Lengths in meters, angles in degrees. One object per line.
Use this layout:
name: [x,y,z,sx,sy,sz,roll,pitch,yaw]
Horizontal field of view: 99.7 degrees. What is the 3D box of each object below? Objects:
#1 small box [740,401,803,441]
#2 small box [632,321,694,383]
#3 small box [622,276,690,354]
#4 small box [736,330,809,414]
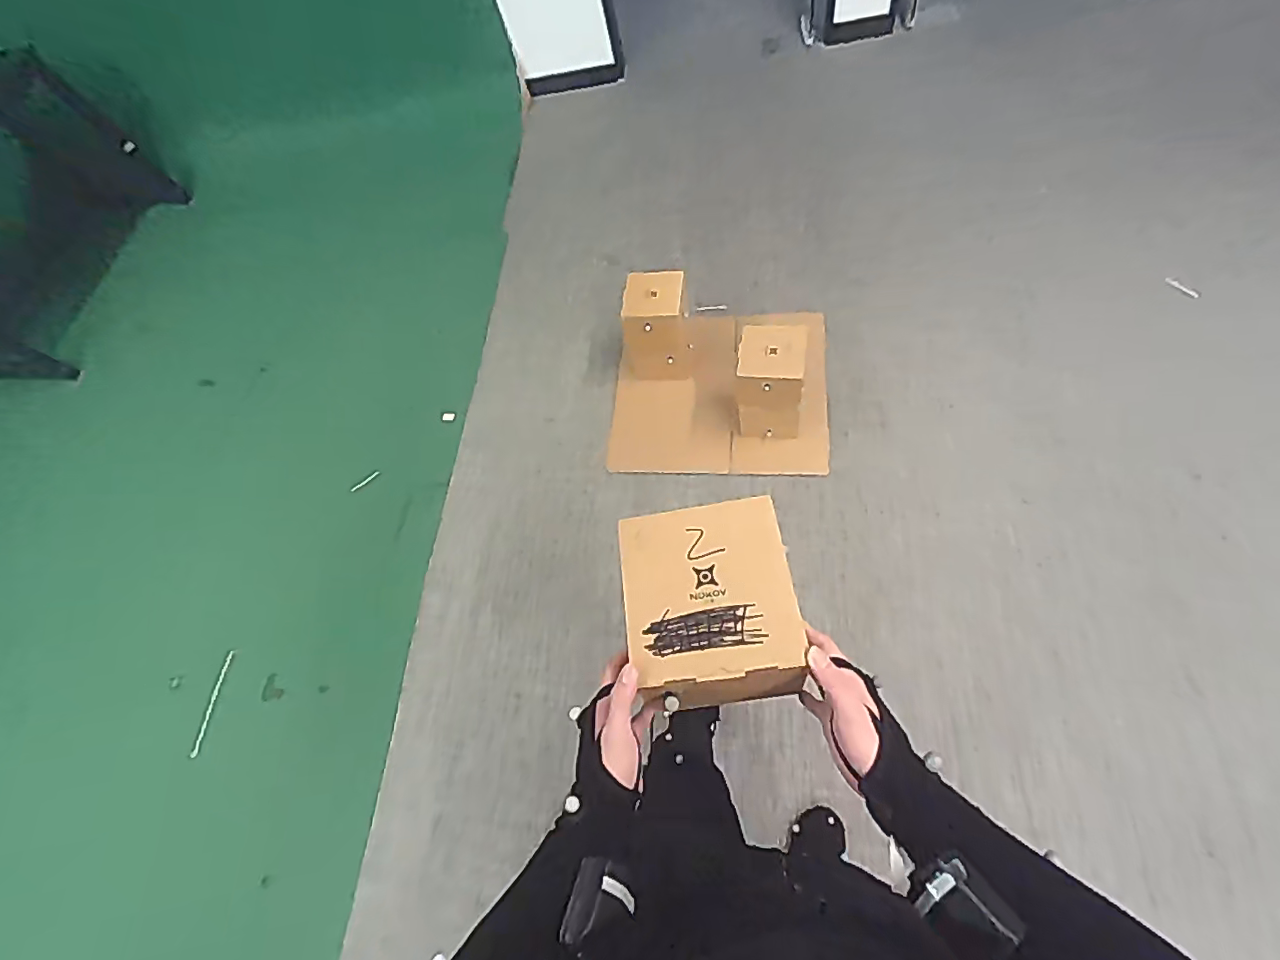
small box: [0.401,-0.228,1.646,0.179,0.176,0.168,4,67,14]
small box: [0.083,-0.438,1.805,0.179,0.176,0.168,2,66,14]
small box: [0.057,-0.502,1.659,0.179,0.176,0.168,2,67,14]
small box: [0.368,-0.297,1.501,0.179,0.176,0.168,6,68,15]
